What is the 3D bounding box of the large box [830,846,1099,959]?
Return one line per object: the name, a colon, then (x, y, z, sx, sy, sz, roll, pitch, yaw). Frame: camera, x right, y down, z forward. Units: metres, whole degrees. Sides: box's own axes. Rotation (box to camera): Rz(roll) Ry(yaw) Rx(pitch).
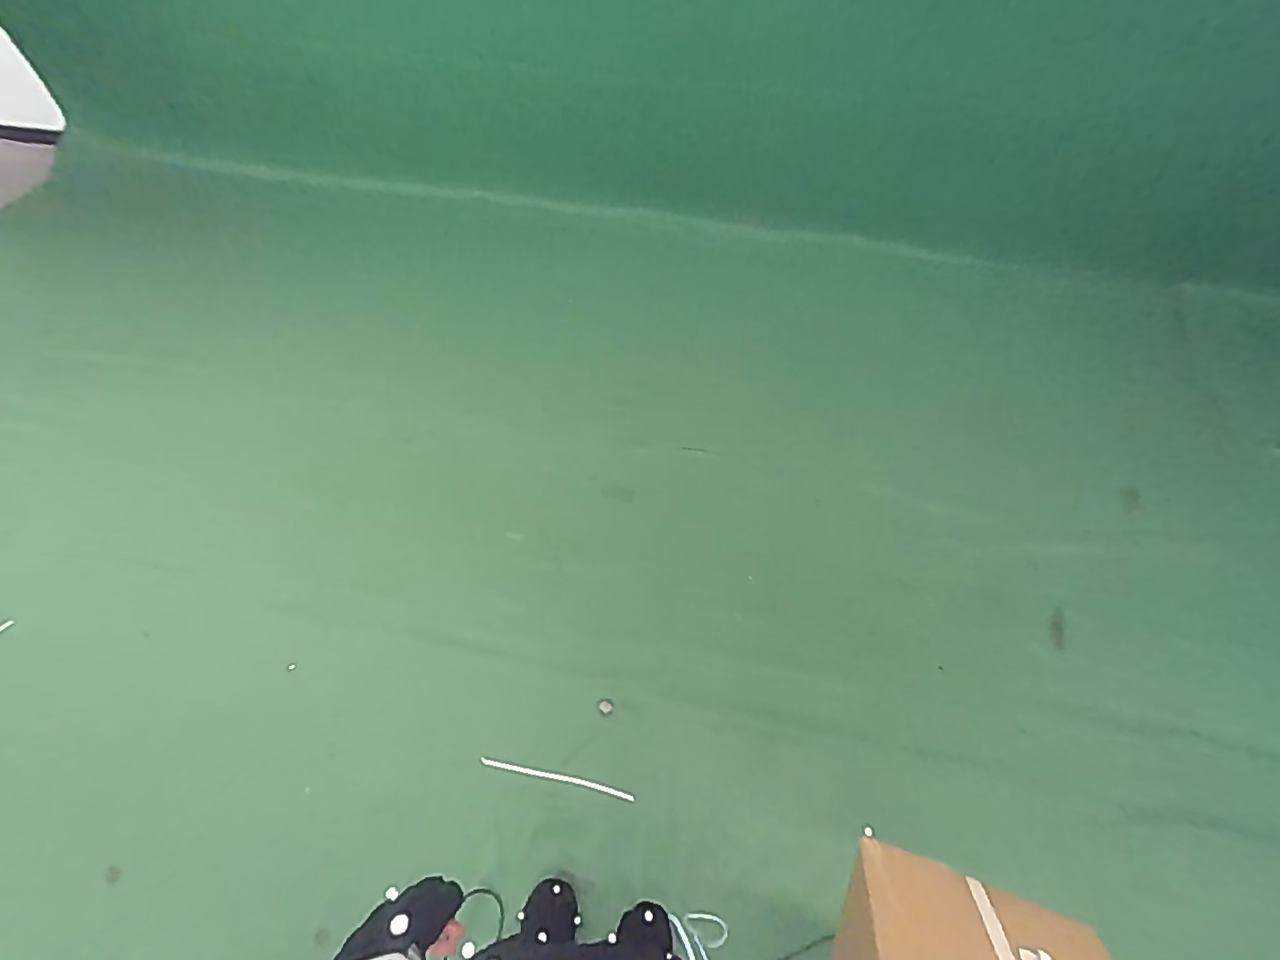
large box: (0.392, 0.745, 0.614, 0.320, 0.408, 0.320, 15, 93, 16)
